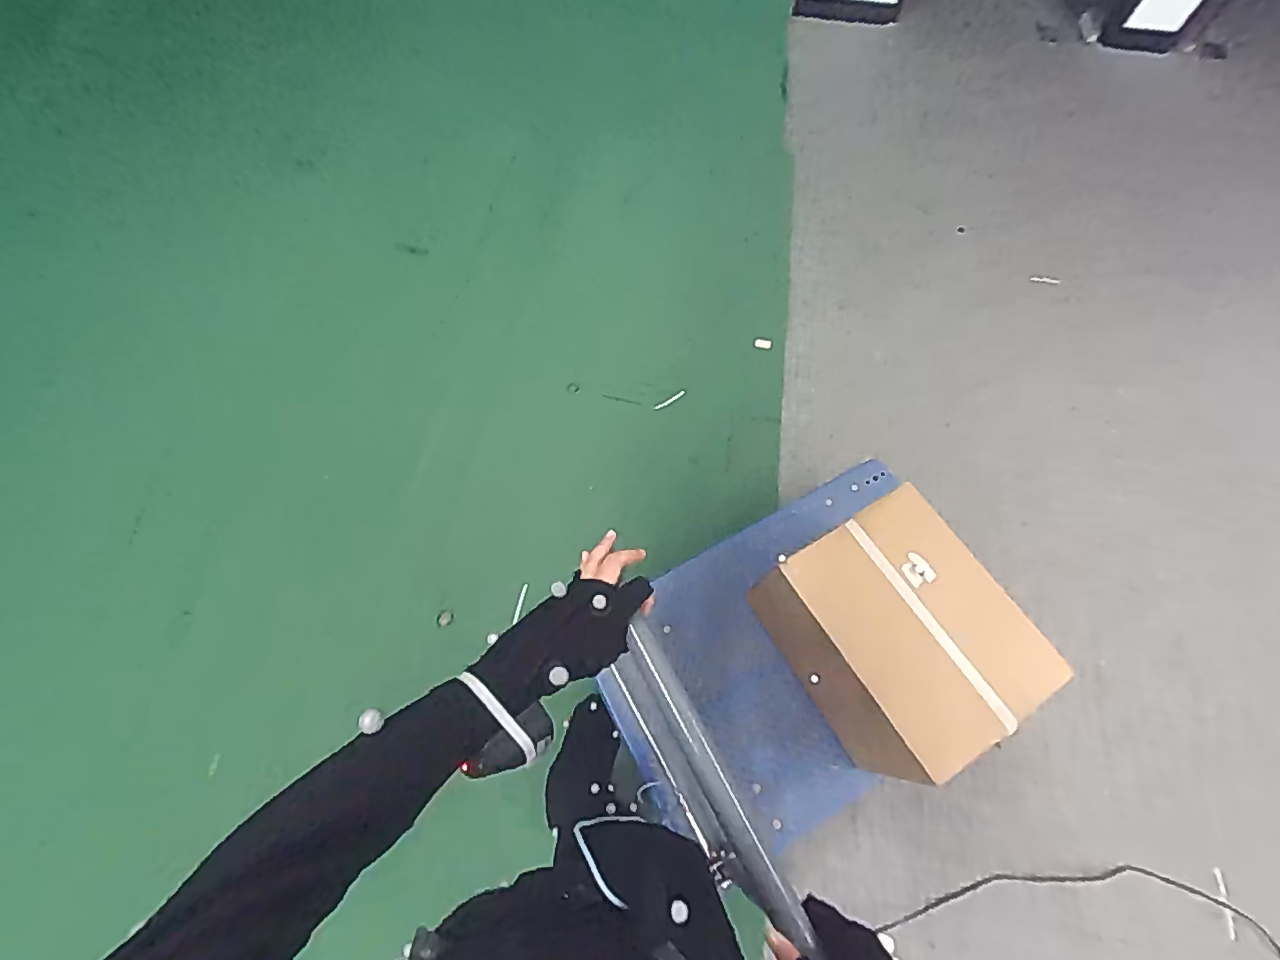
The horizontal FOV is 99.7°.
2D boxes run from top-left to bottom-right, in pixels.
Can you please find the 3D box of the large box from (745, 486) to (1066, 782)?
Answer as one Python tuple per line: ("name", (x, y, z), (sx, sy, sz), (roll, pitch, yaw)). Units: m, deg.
("large box", (0.464, 0.295, 1.049), (0.320, 0.320, 0.408), (-28, 69, -13))
